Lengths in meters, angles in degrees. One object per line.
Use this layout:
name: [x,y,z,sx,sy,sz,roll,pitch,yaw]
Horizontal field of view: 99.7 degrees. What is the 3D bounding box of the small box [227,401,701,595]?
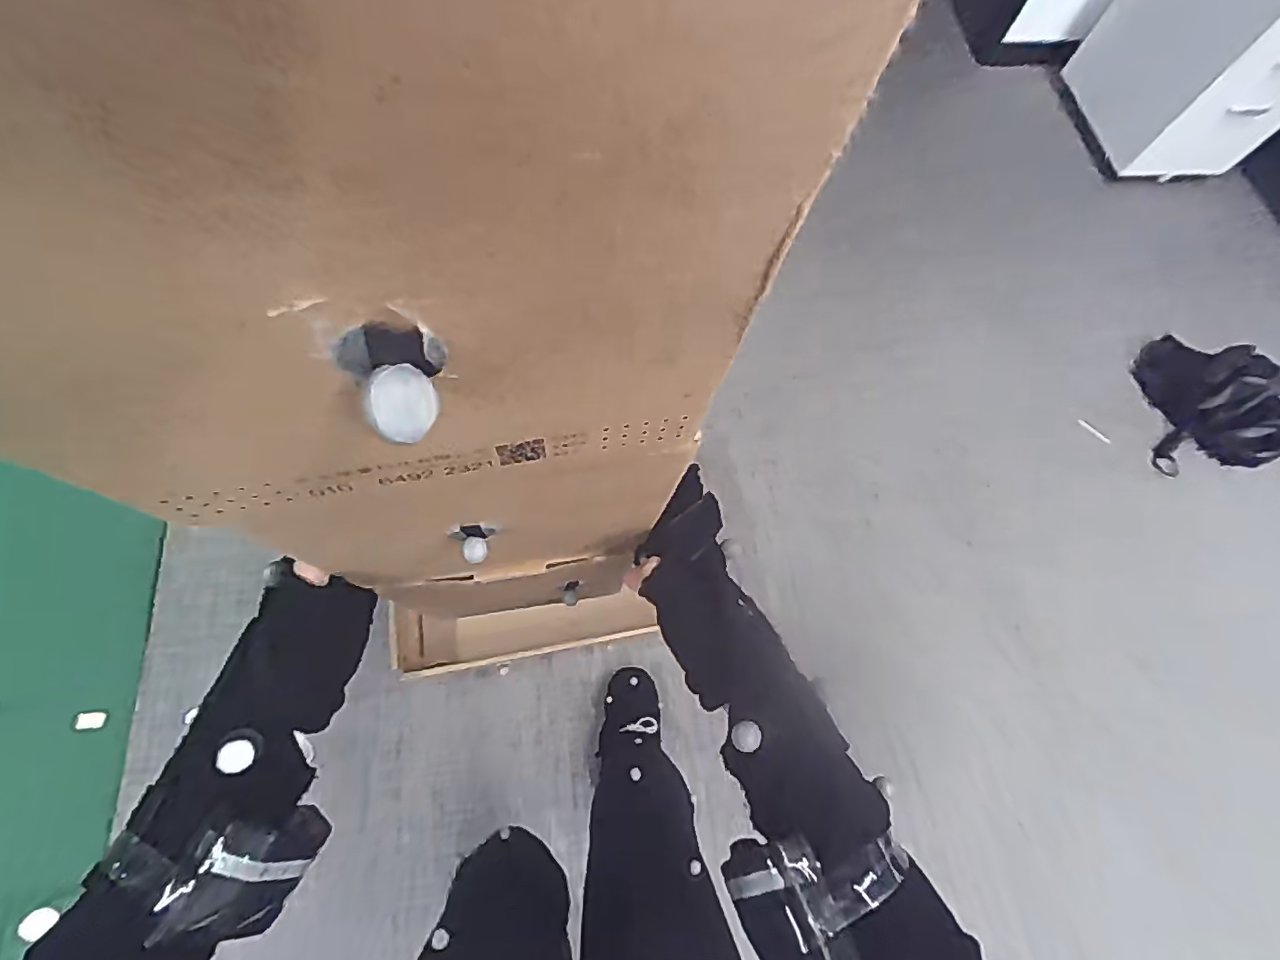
small box: [-0.087,-0.042,0.299,0.179,0.176,0.168,-11,72,-12]
